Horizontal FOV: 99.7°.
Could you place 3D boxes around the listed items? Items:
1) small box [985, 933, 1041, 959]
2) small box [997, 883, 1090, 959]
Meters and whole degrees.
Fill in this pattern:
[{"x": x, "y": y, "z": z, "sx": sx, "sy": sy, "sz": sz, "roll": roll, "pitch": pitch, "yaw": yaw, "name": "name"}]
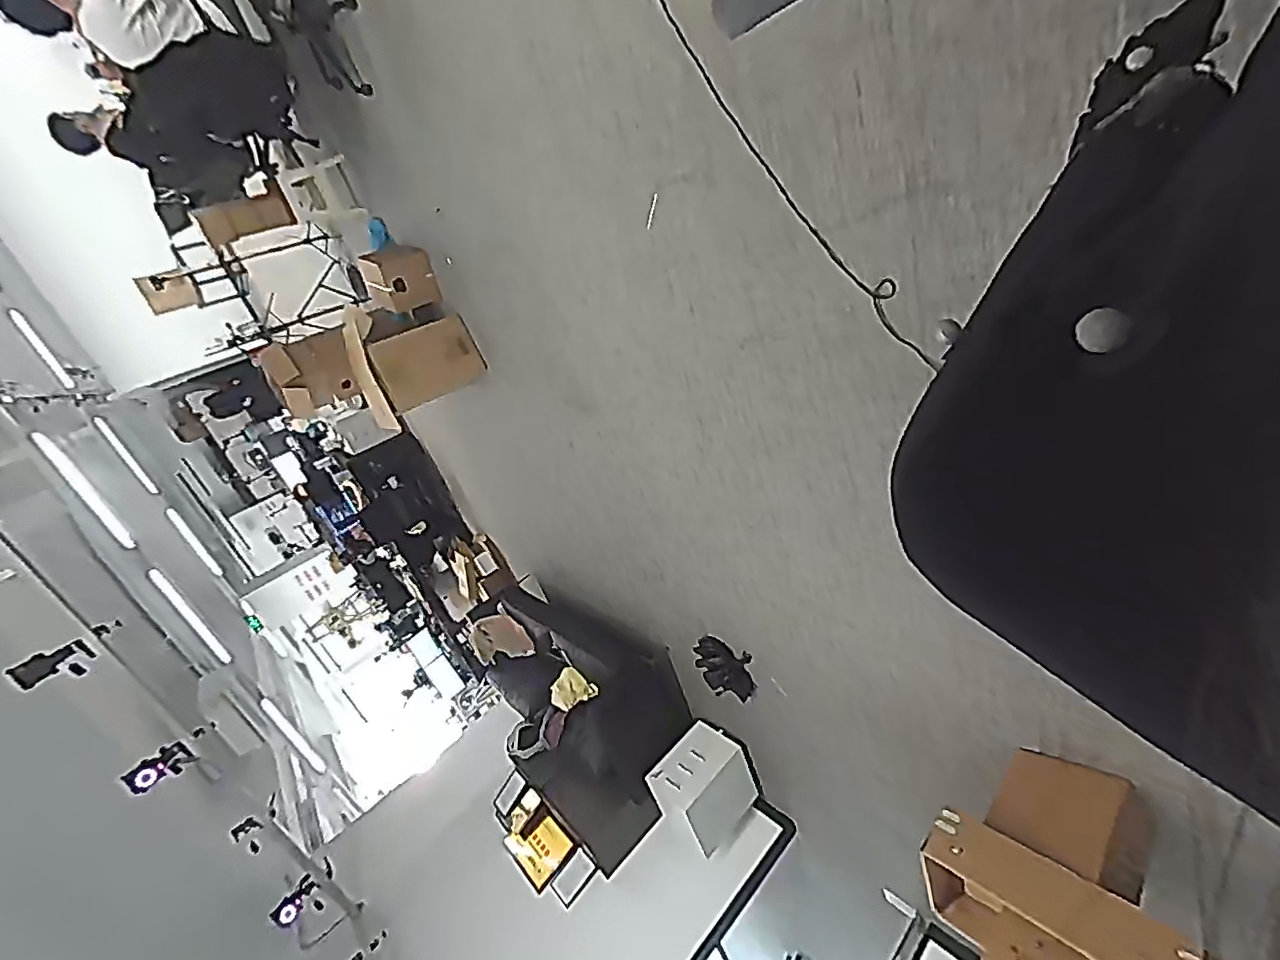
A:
[{"x": 1.047, "y": 1.412, "z": 1.474, "sx": 0.168, "sy": 0.176, "sz": 0.179, "roll": 3, "pitch": 122, "yaw": 53, "name": "small box"}, {"x": 1.163, "y": 1.327, "z": 1.554, "sx": 0.168, "sy": 0.176, "sz": 0.179, "roll": 1, "pitch": 122, "yaw": 53, "name": "small box"}]
